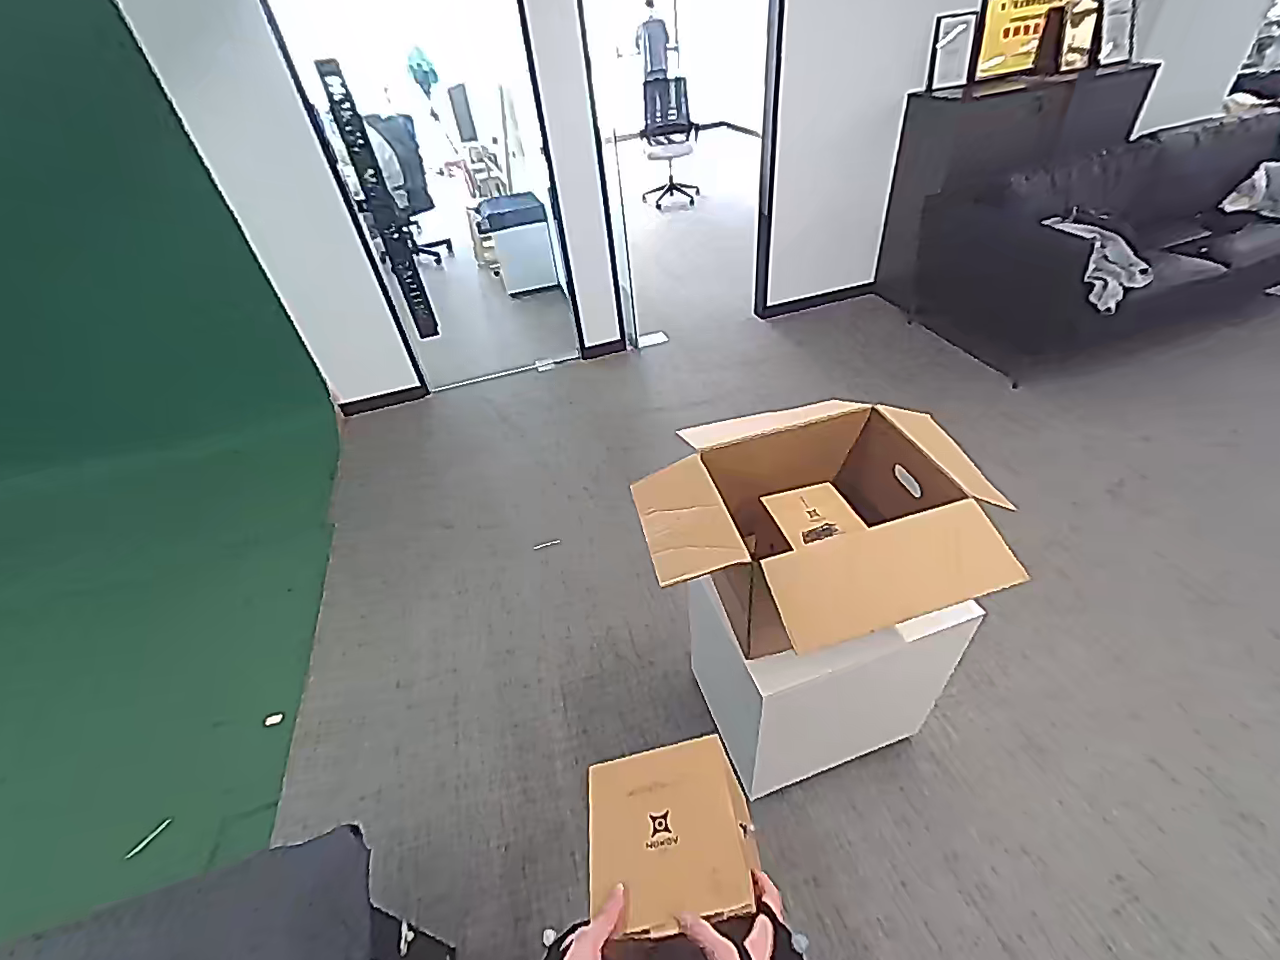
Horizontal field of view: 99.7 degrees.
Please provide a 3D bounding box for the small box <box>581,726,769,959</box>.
[{"bbox_3d":[0.038,0.426,0.623,0.168,0.176,0.179,-17,33,5],"label":"small box"}]
